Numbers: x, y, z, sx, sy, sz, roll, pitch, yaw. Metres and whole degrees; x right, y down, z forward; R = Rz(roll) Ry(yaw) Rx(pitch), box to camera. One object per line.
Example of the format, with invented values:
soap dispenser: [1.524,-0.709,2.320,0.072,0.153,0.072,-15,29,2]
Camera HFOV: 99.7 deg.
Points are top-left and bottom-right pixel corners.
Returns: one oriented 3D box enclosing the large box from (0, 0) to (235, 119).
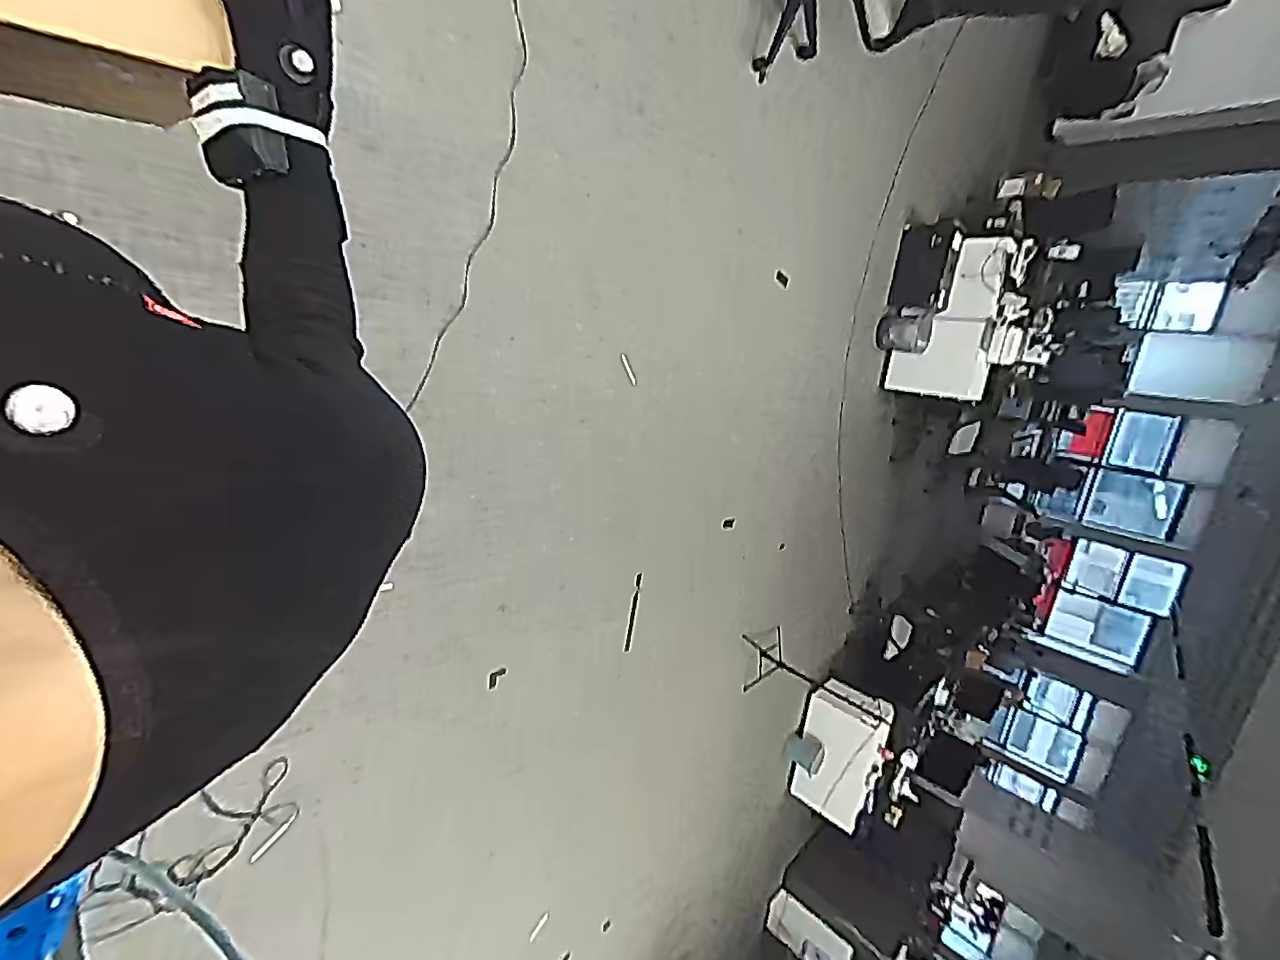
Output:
large box: [-0.540,-0.450,0.310,0.408,0.320,0.320,-17,120,-45]

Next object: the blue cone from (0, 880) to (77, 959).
blue cone: [-1.267,1.018,1.070,0.193,0.380,0.192,26,85,-48]
